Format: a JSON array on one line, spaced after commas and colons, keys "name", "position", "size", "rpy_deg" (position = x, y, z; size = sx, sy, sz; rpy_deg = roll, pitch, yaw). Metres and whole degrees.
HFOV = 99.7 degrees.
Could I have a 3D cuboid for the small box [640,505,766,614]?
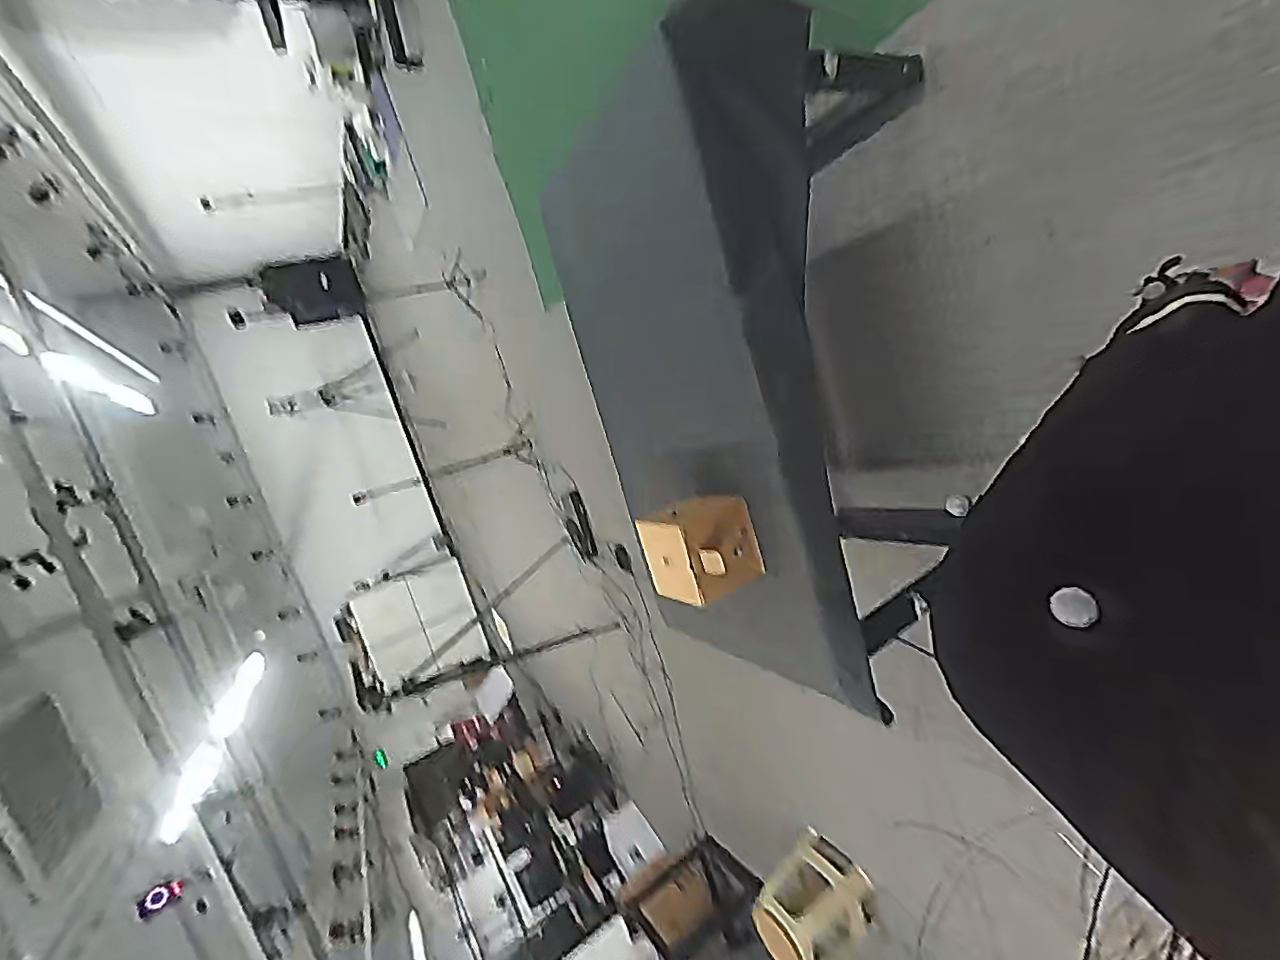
[{"name": "small box", "position": [0.130, 0.156, 1.122], "size": [0.179, 0.176, 0.168], "rpy_deg": [-5, 104, 60]}]
